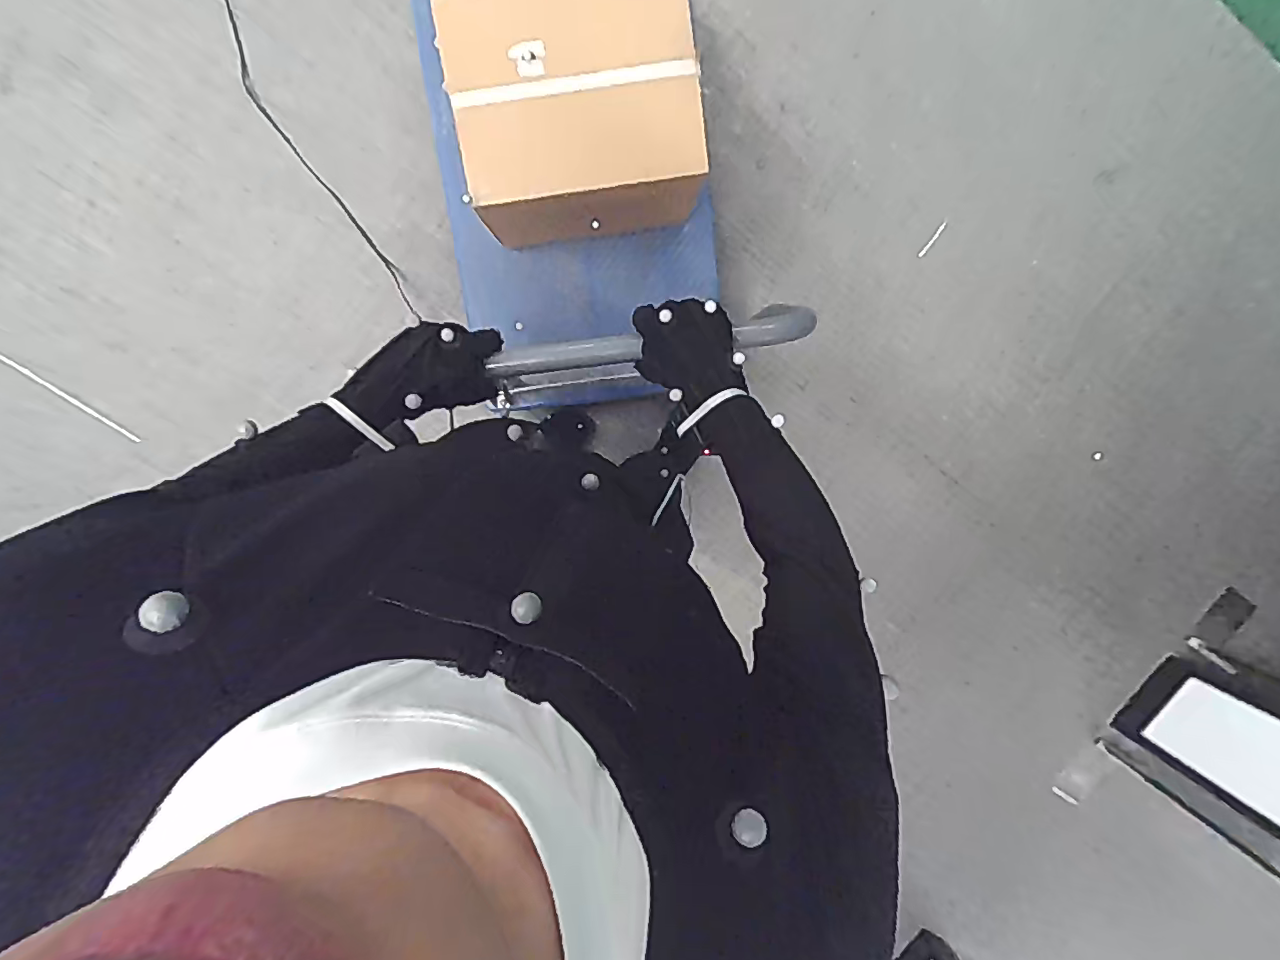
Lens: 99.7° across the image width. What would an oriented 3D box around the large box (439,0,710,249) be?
[{"bbox_3d":[-0.106,-0.662,1.032,0.408,0.320,0.320,-10,100,-1],"label":"large box"}]
